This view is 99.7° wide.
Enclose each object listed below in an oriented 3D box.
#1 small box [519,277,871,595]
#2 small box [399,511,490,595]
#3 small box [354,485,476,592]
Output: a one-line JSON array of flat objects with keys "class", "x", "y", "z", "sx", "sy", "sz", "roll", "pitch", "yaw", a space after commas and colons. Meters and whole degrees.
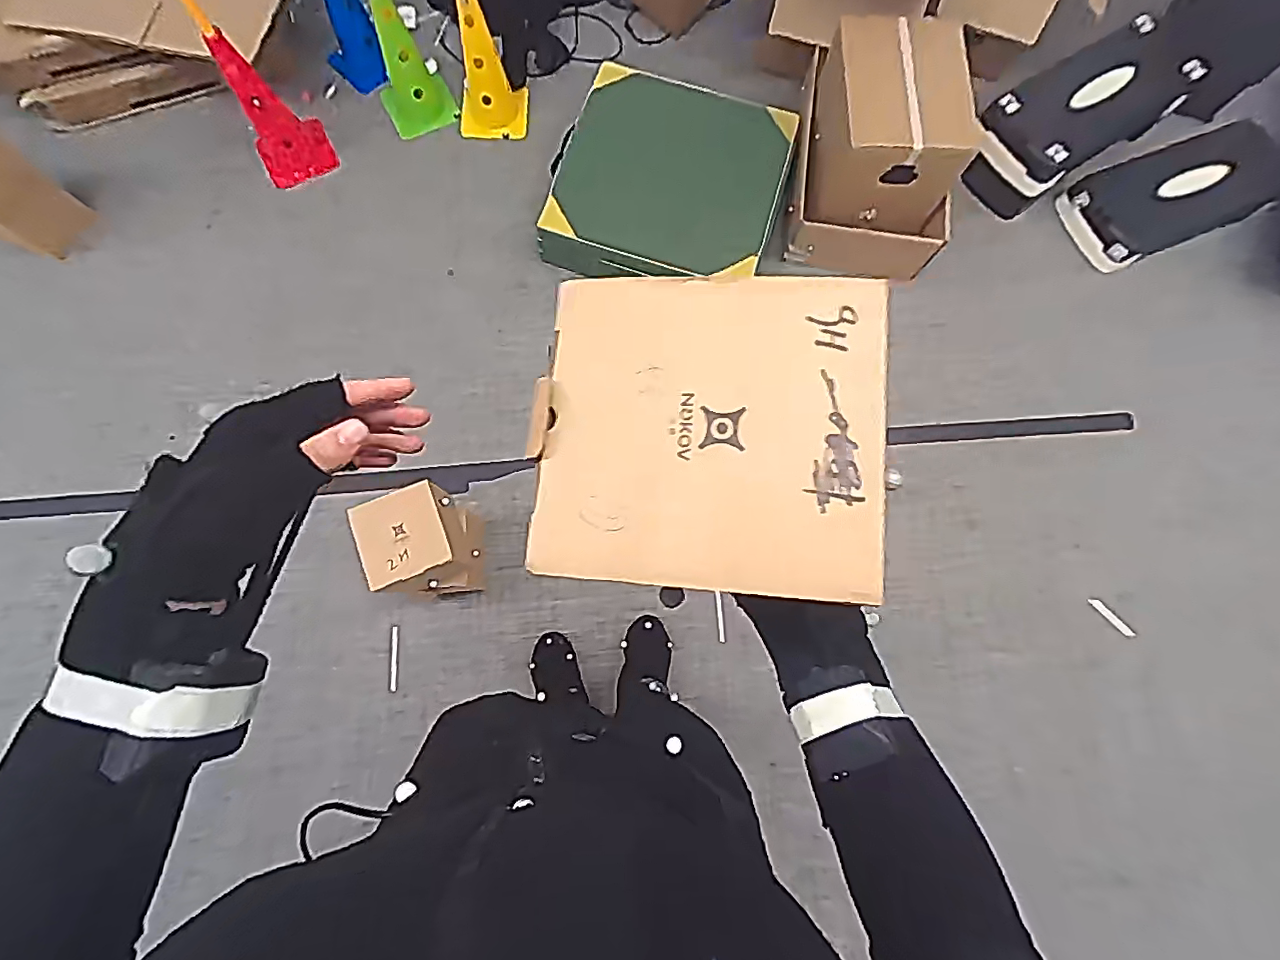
[{"class": "small box", "x": 0.039, "y": -0.011, "z": 0.358, "sx": 0.179, "sy": 0.176, "sz": 0.168, "roll": 0, "pitch": 79, "yaw": 9}, {"class": "small box", "x": -0.462, "y": 0.180, "z": 1.293, "sx": 0.168, "sy": 0.176, "sz": 0.179, "roll": -6, "pitch": 76, "yaw": -3}, {"class": "small box", "x": -0.464, "y": 0.130, "z": 1.135, "sx": 0.168, "sy": 0.176, "sz": 0.179, "roll": -18, "pitch": 80, "yaw": -4}]
